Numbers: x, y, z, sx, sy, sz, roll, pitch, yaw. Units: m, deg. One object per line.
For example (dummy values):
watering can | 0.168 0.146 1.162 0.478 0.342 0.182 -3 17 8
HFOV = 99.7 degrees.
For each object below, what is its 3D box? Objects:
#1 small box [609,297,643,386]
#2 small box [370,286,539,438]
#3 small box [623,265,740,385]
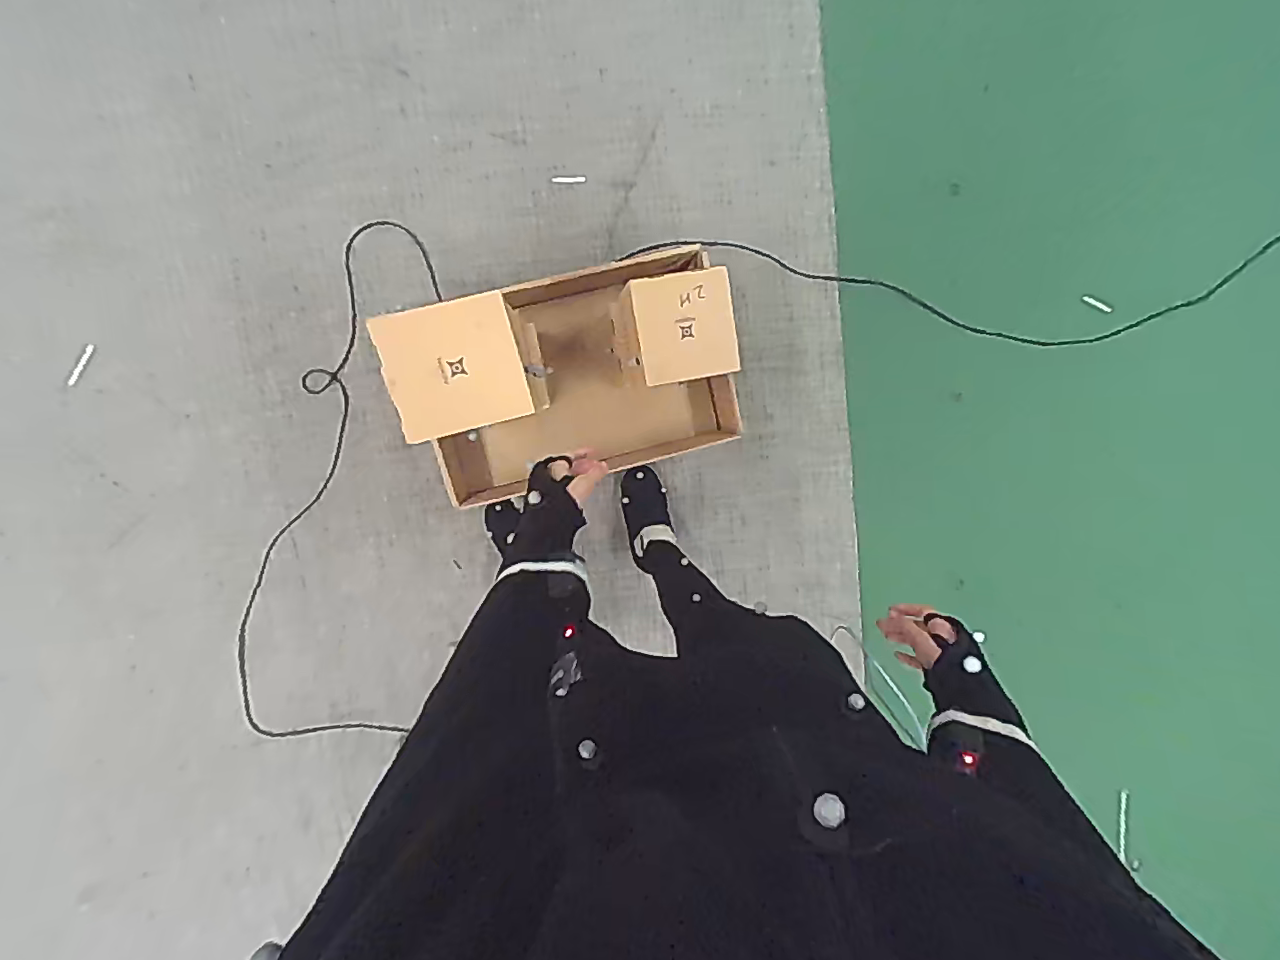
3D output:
small box | 0.031 -0.291 1.129 0.179 0.176 0.168 -10 100 -5
small box | -0.249 -0.168 0.777 0.179 0.176 0.168 -15 102 -5
small box | 0.068 -0.268 0.969 0.168 0.176 0.179 -10 99 -7
